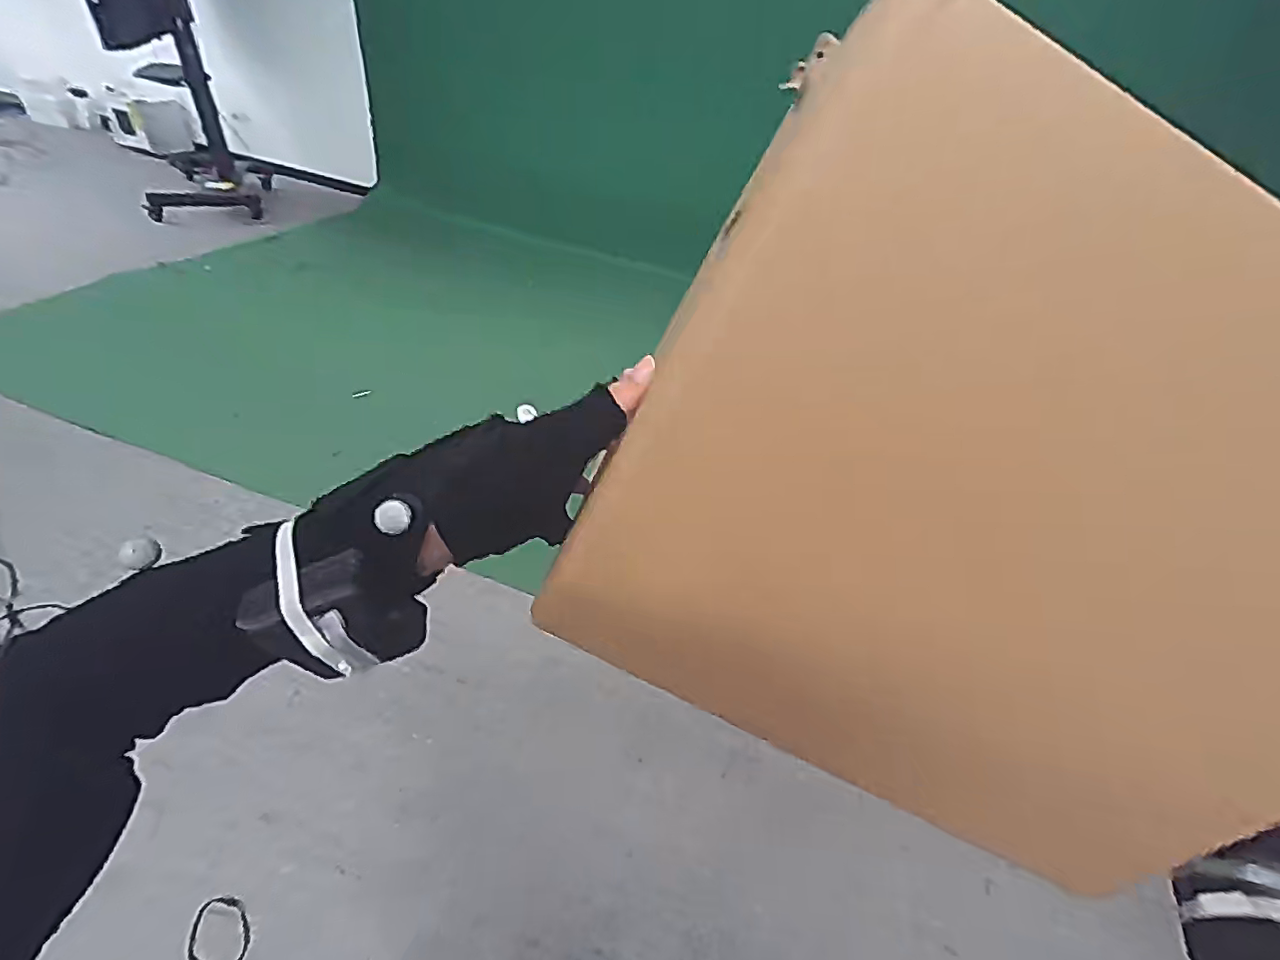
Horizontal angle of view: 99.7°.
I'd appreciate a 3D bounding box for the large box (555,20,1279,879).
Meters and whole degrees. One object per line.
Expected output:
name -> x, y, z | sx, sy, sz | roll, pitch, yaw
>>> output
large box -> 0.207, -0.007, 0.392 | 0.408, 0.320, 0.320 | 30, 30, -6
